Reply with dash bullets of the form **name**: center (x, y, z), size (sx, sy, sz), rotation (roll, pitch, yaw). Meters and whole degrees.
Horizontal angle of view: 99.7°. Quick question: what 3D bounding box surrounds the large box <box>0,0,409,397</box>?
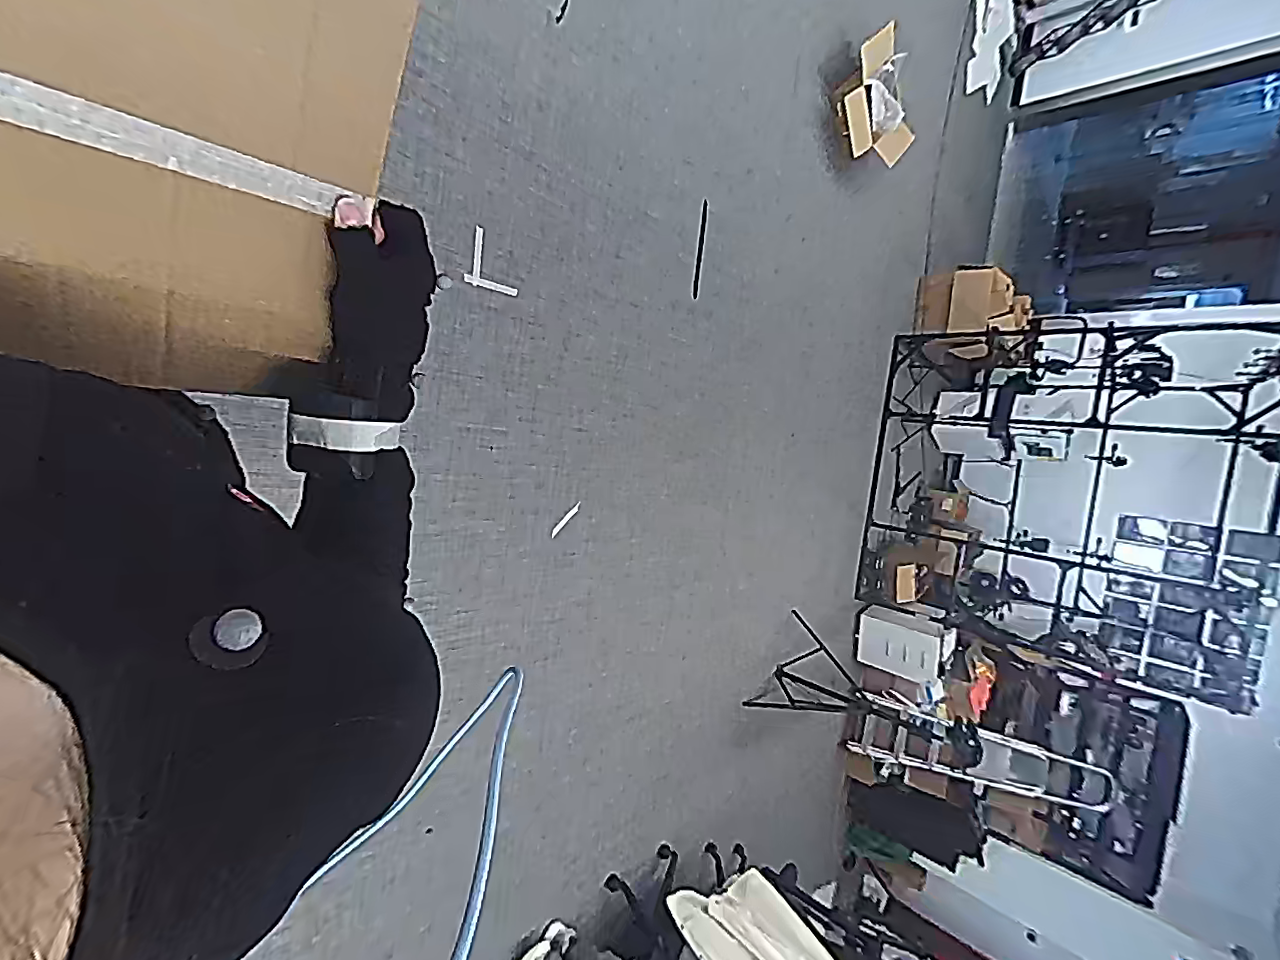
- **large box**: center (-0.411, -0.275, 0.310), size (0.408, 0.320, 0.320), rotation (-1, 133, -45)
